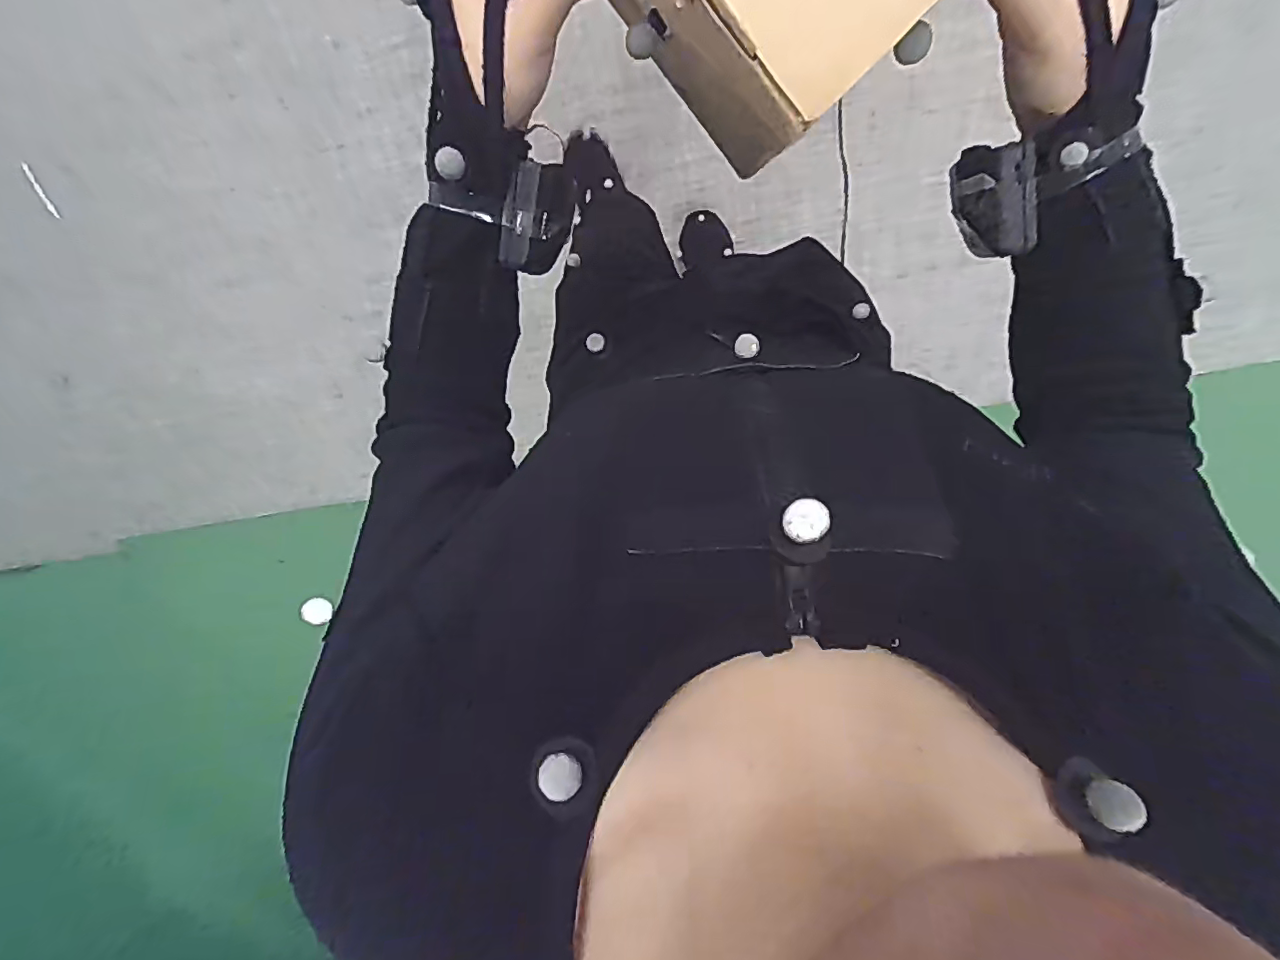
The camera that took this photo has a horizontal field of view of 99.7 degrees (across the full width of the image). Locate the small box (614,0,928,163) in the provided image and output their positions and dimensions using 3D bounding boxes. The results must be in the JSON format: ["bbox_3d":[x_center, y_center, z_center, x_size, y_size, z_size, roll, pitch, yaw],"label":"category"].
[{"bbox_3d":[0.067,-0.270,0.228,0.179,0.176,0.168,-39,106,19],"label":"small box"}]
